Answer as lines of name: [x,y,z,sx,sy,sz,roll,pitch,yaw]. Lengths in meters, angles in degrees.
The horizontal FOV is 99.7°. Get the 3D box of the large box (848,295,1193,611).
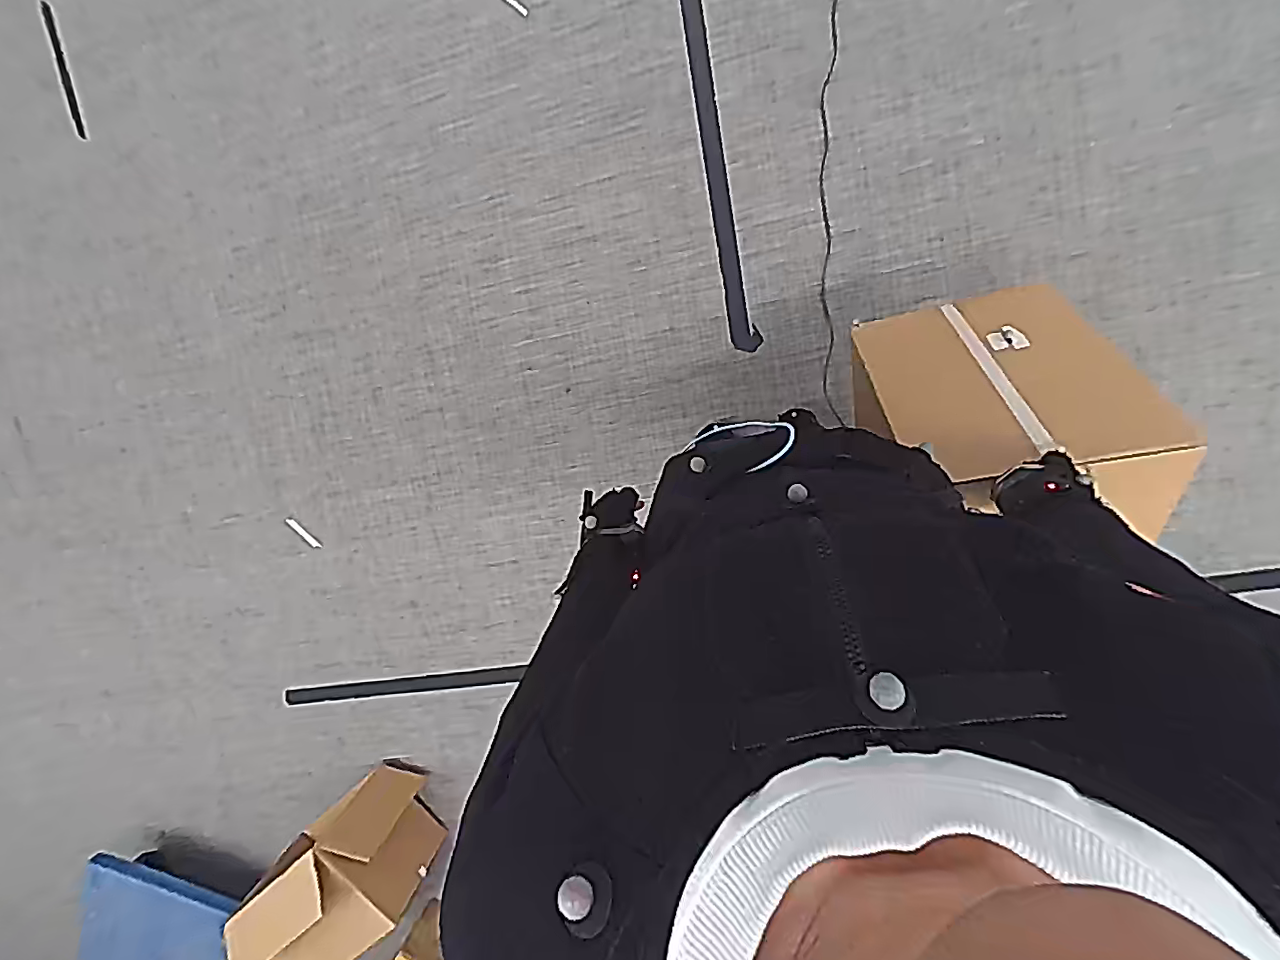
large box: [0.561,-0.046,0.909,0.320,0.408,0.320,-10,133,13]
